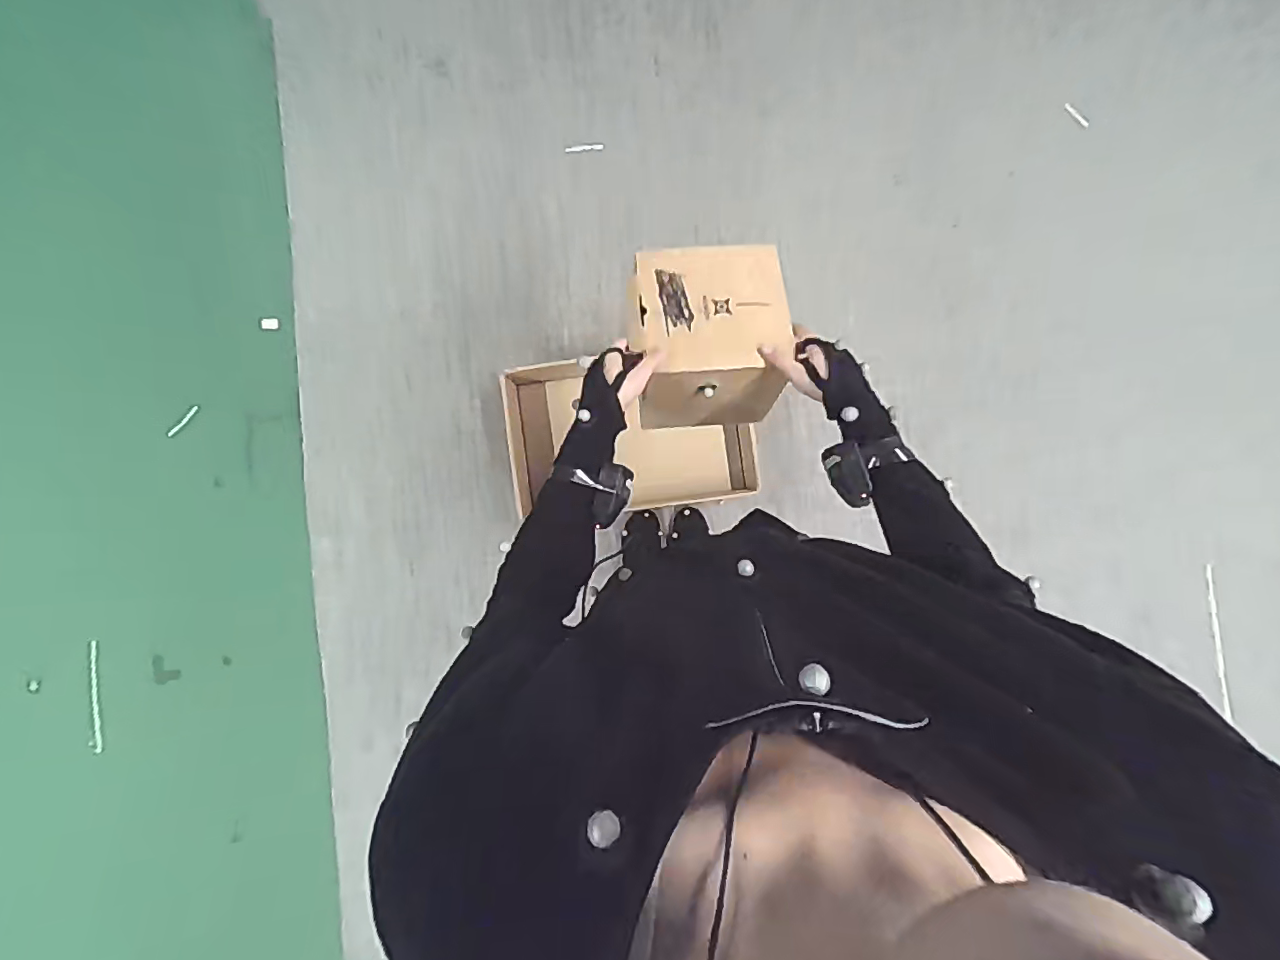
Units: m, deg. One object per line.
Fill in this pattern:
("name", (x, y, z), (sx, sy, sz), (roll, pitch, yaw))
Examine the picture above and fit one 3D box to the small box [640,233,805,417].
("small box", (0.092, -0.188, 0.695), (0.179, 0.176, 0.168), (-4, 74, -2))
